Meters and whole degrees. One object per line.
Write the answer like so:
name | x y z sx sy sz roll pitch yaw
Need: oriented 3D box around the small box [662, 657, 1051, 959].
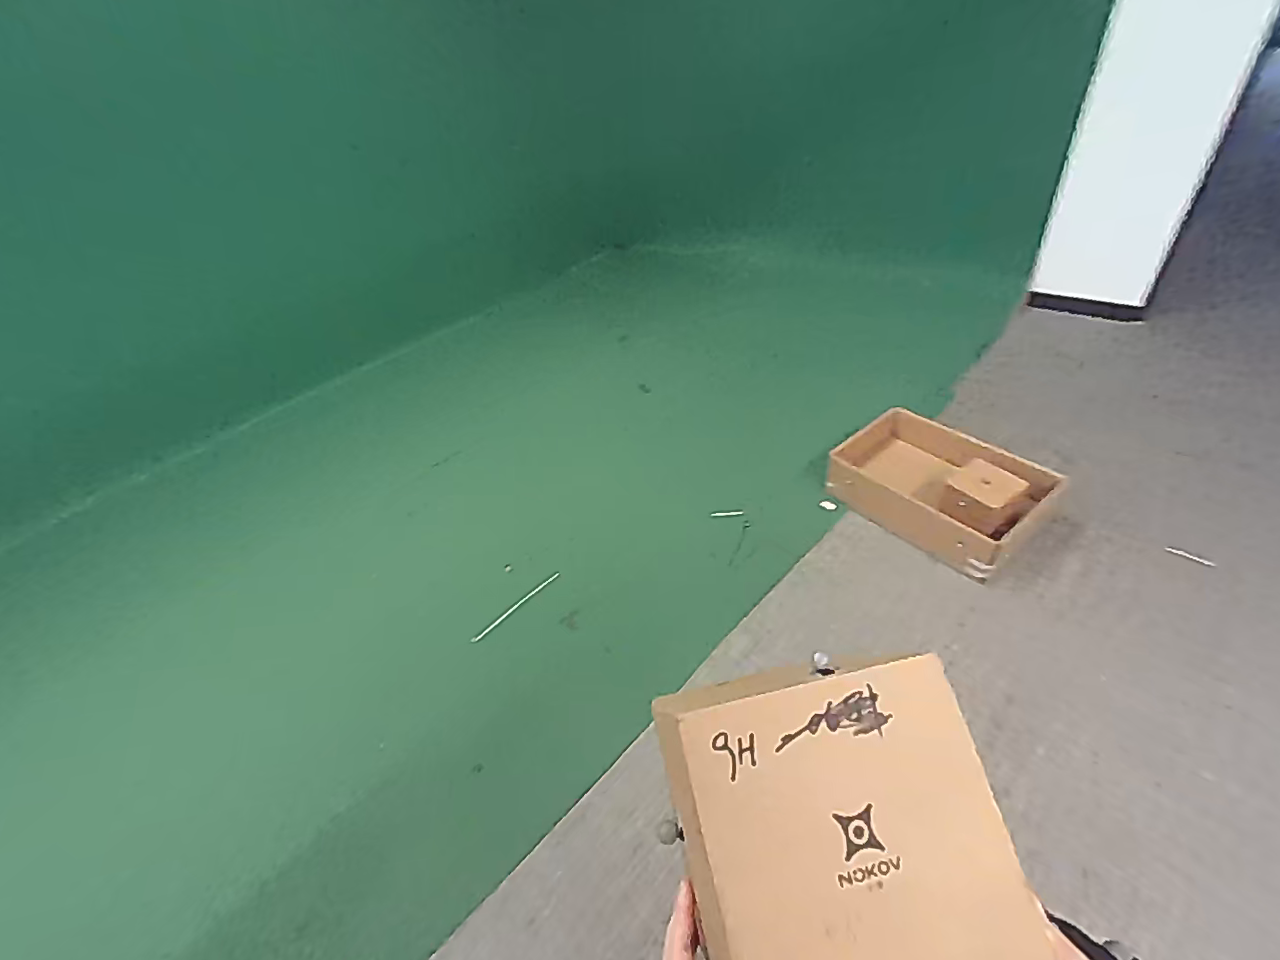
small box | 0.117 0.225 0.369 0.168 0.176 0.179 -9 72 -8
